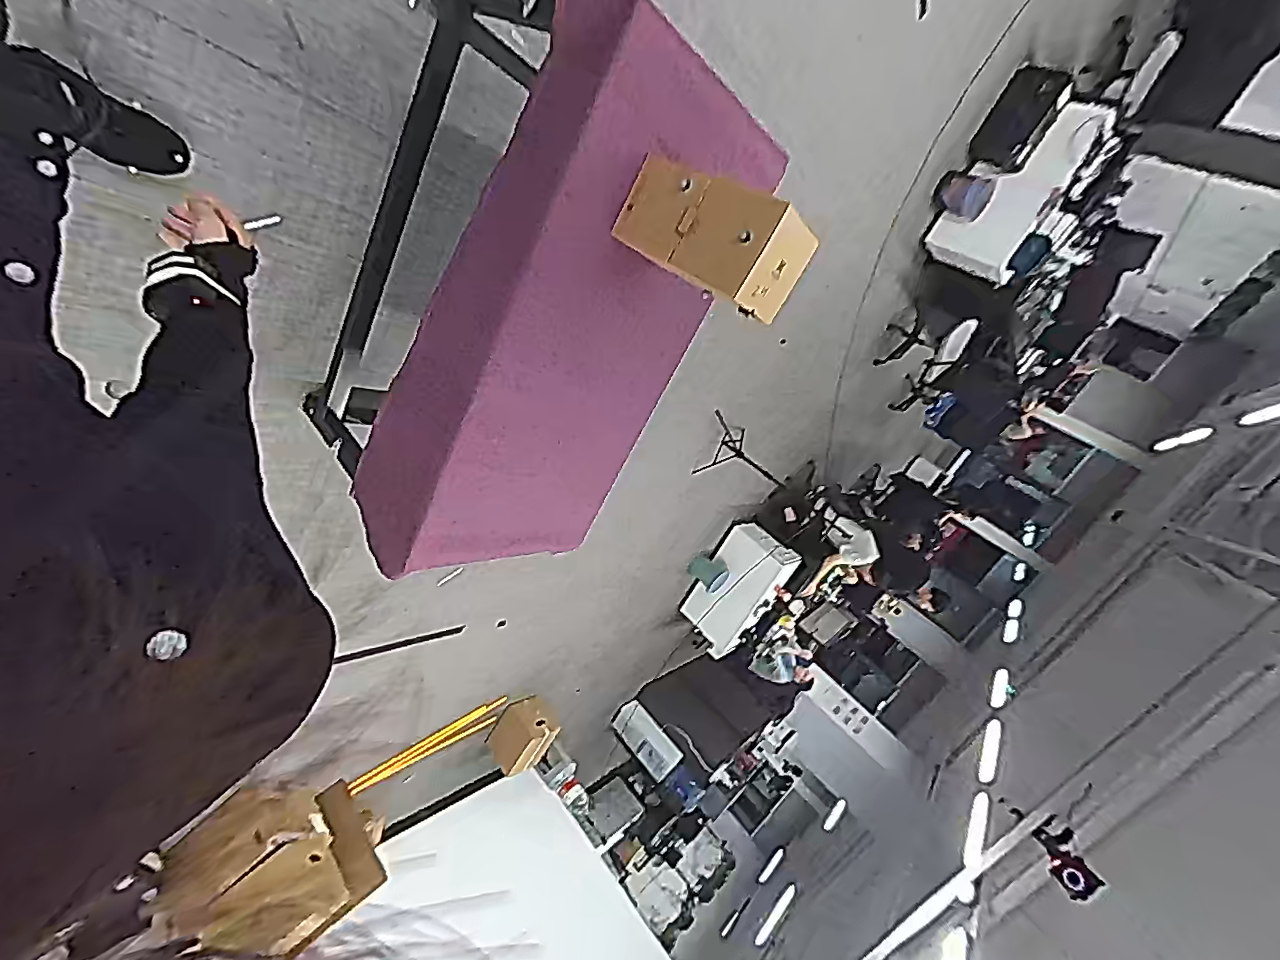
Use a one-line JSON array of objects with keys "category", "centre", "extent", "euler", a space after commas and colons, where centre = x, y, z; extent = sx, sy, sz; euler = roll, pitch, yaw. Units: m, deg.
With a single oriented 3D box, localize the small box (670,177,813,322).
[{"category": "small box", "centre": [0.188, -0.433, 1.019], "extent": [0.168, 0.176, 0.179], "euler": [5, 121, -56]}]
